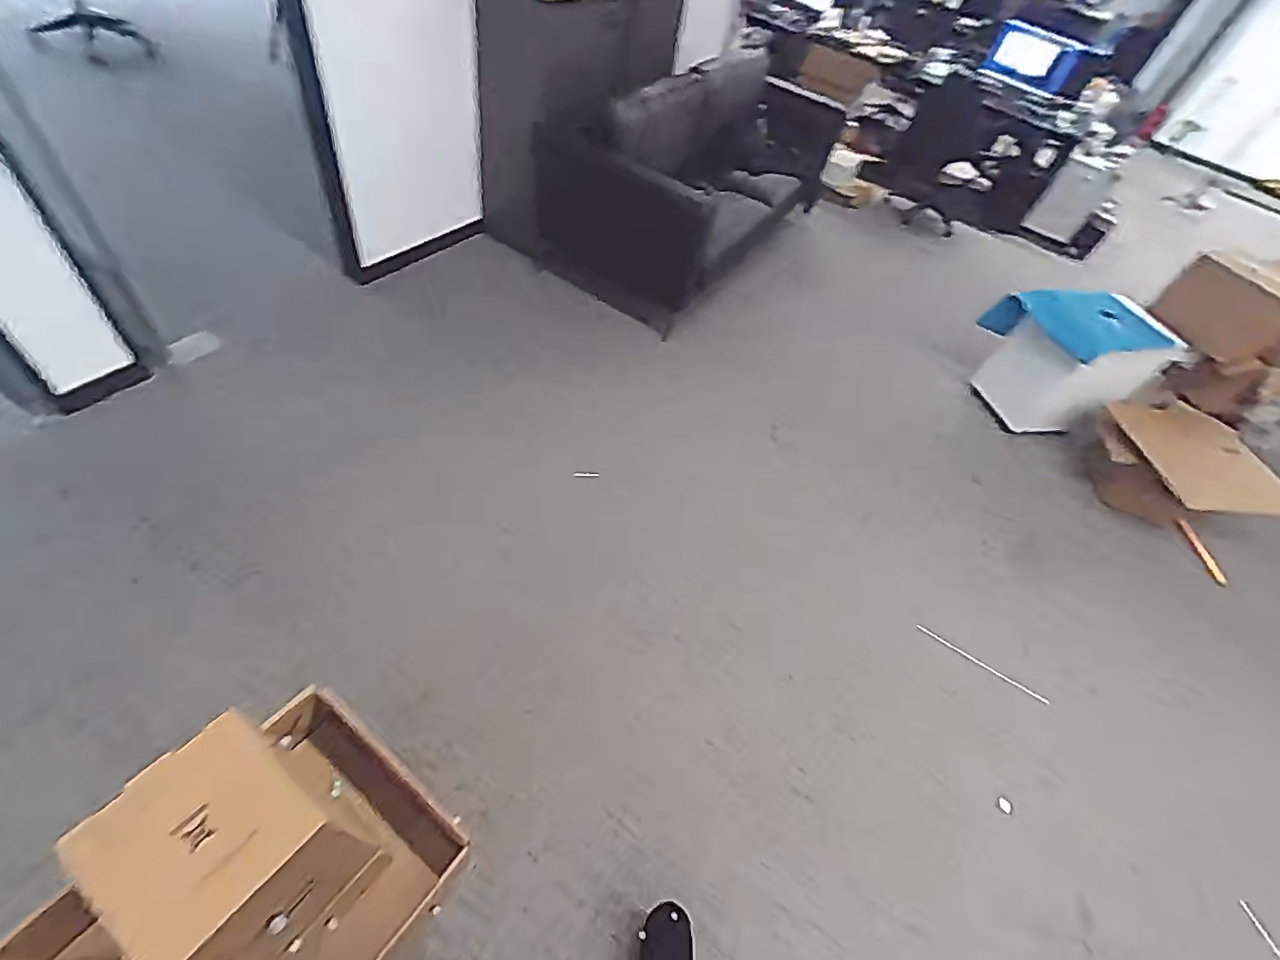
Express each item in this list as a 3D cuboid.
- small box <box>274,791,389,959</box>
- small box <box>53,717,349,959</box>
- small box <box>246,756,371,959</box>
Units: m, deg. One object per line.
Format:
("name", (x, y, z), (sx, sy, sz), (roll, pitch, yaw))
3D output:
("small box", (-0.521, 0.610, 0.841), (0.179, 0.176, 0.168), (35, 52, 16))
("small box", (-0.458, 0.405, 0.594), (0.179, 0.176, 0.168), (36, 52, 16))
("small box", (-0.492, 0.506, 0.718), (0.179, 0.176, 0.168), (35, 51, 16))
